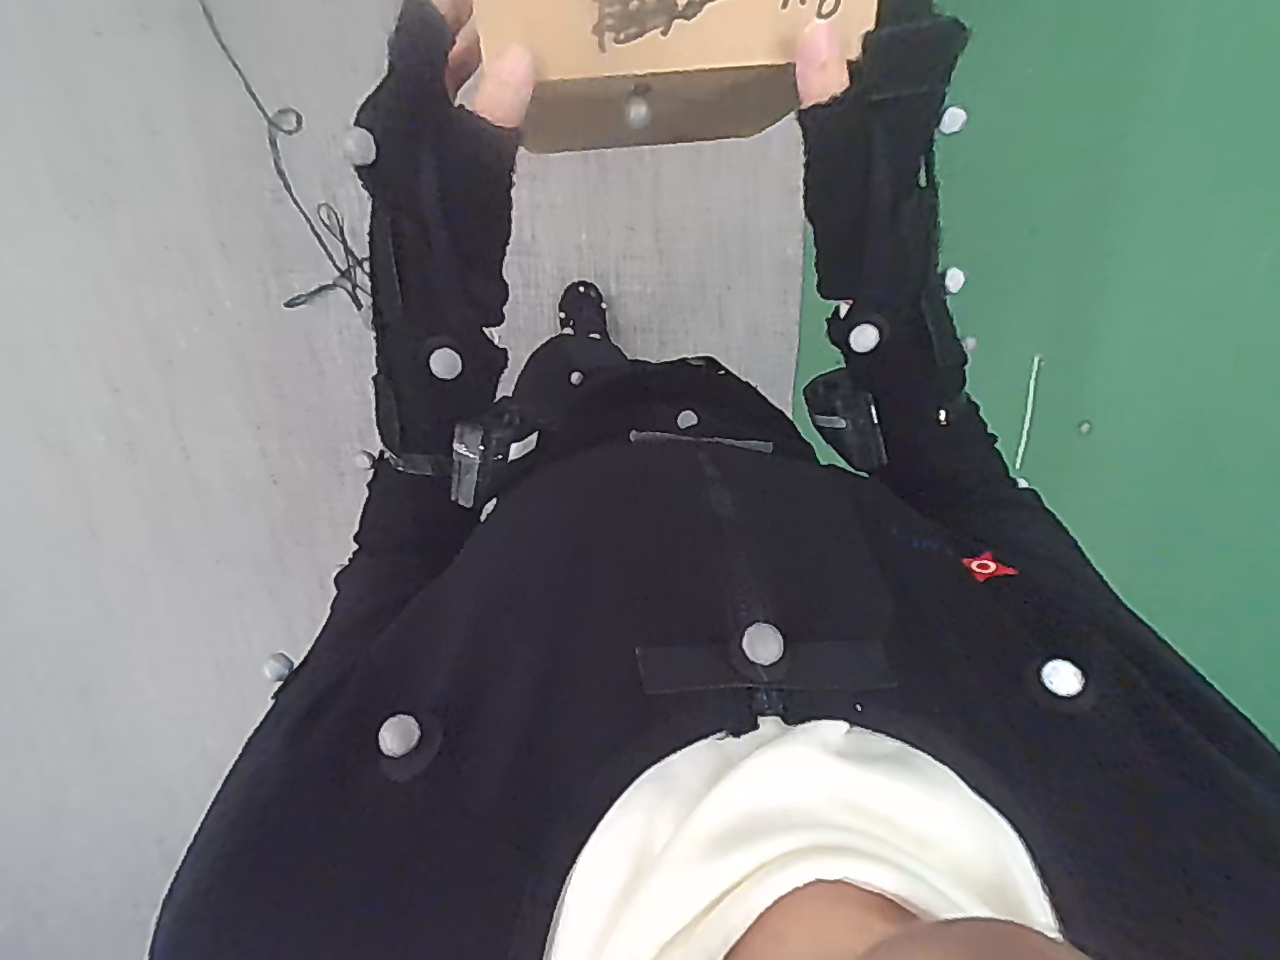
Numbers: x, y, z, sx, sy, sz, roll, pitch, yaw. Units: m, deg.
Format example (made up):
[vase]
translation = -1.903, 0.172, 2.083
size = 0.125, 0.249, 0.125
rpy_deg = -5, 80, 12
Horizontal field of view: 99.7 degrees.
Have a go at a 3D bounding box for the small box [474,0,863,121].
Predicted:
[small box]
translation = 0.000, -0.300, 0.262
size = 0.168, 0.176, 0.179
rpy_deg = -6, 113, -3
